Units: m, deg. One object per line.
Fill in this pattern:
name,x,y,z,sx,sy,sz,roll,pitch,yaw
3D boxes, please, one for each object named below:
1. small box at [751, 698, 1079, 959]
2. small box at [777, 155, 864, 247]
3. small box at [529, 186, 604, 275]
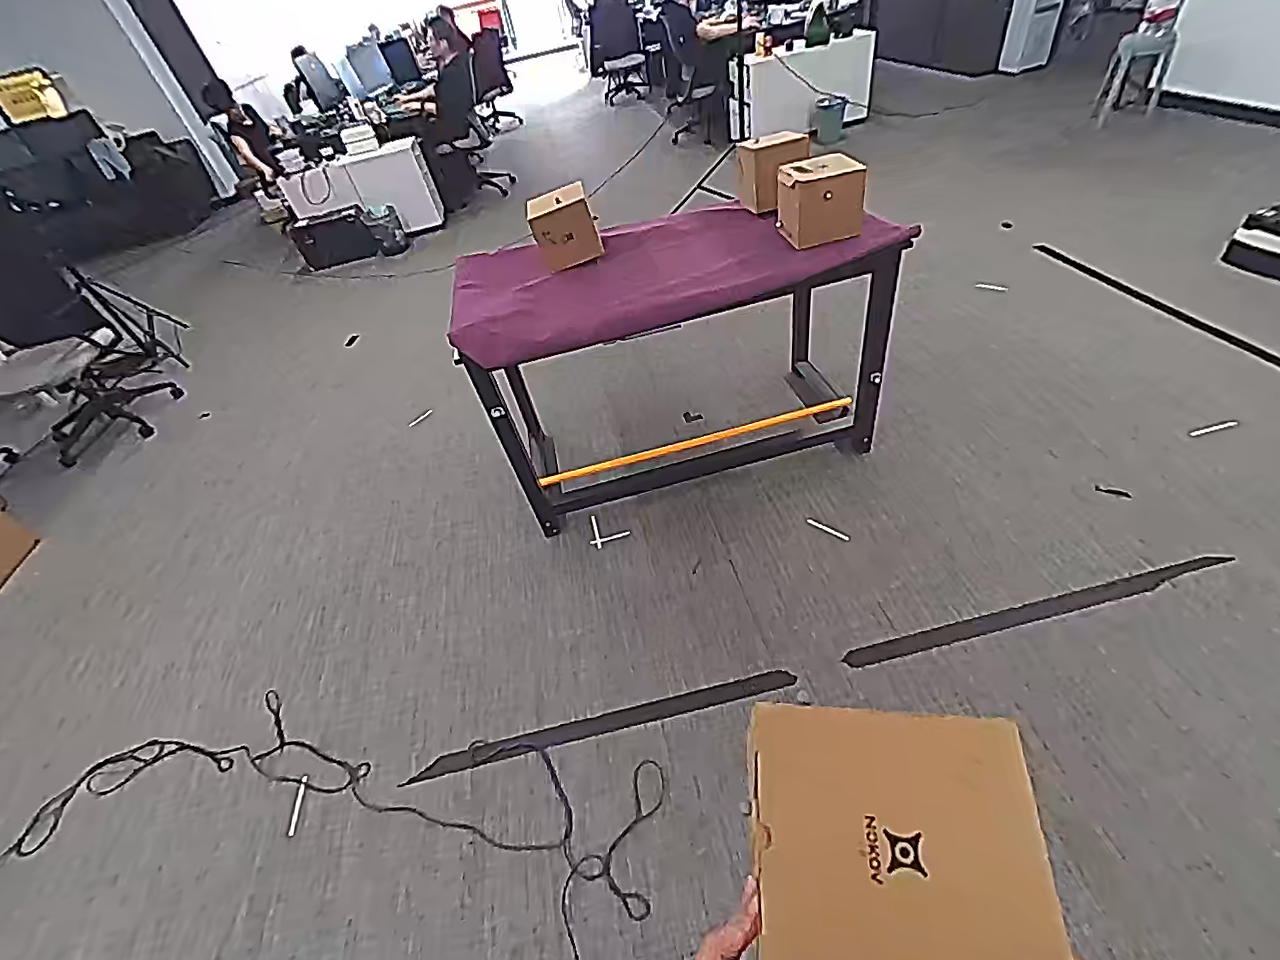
small box,0.176,0.266,0.406,0.179,0.176,0.168,-1,60,10
small box,0.478,-0.746,1.453,0.179,0.176,0.168,-13,43,0
small box,-0.222,-0.748,1.613,0.179,0.168,0.176,-18,43,6
